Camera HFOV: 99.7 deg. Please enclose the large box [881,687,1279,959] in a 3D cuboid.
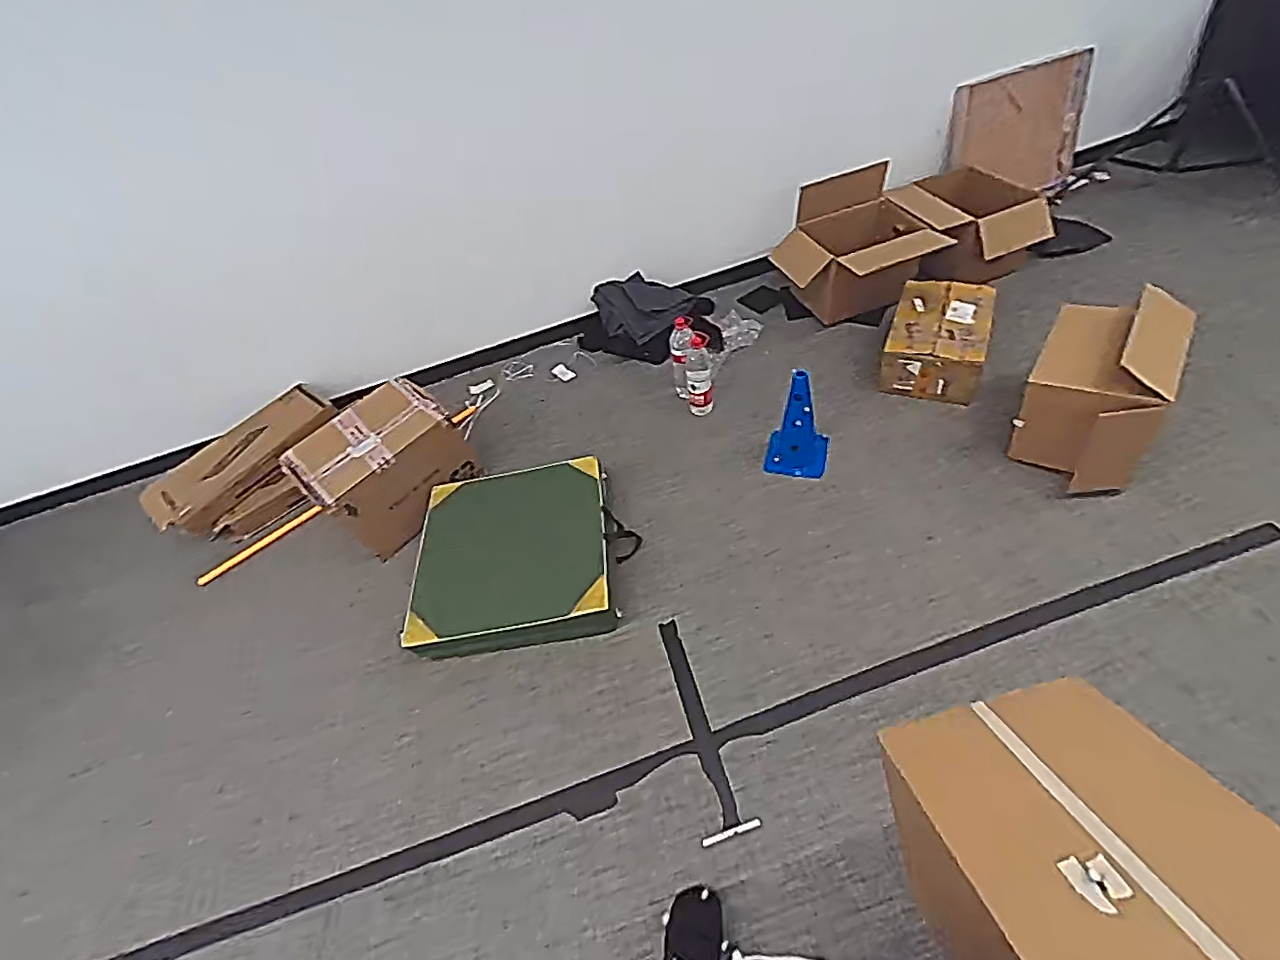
[{"bbox_3d":[0.558,0.538,0.660,0.320,0.320,0.408,-18,16,2],"label":"large box"}]
